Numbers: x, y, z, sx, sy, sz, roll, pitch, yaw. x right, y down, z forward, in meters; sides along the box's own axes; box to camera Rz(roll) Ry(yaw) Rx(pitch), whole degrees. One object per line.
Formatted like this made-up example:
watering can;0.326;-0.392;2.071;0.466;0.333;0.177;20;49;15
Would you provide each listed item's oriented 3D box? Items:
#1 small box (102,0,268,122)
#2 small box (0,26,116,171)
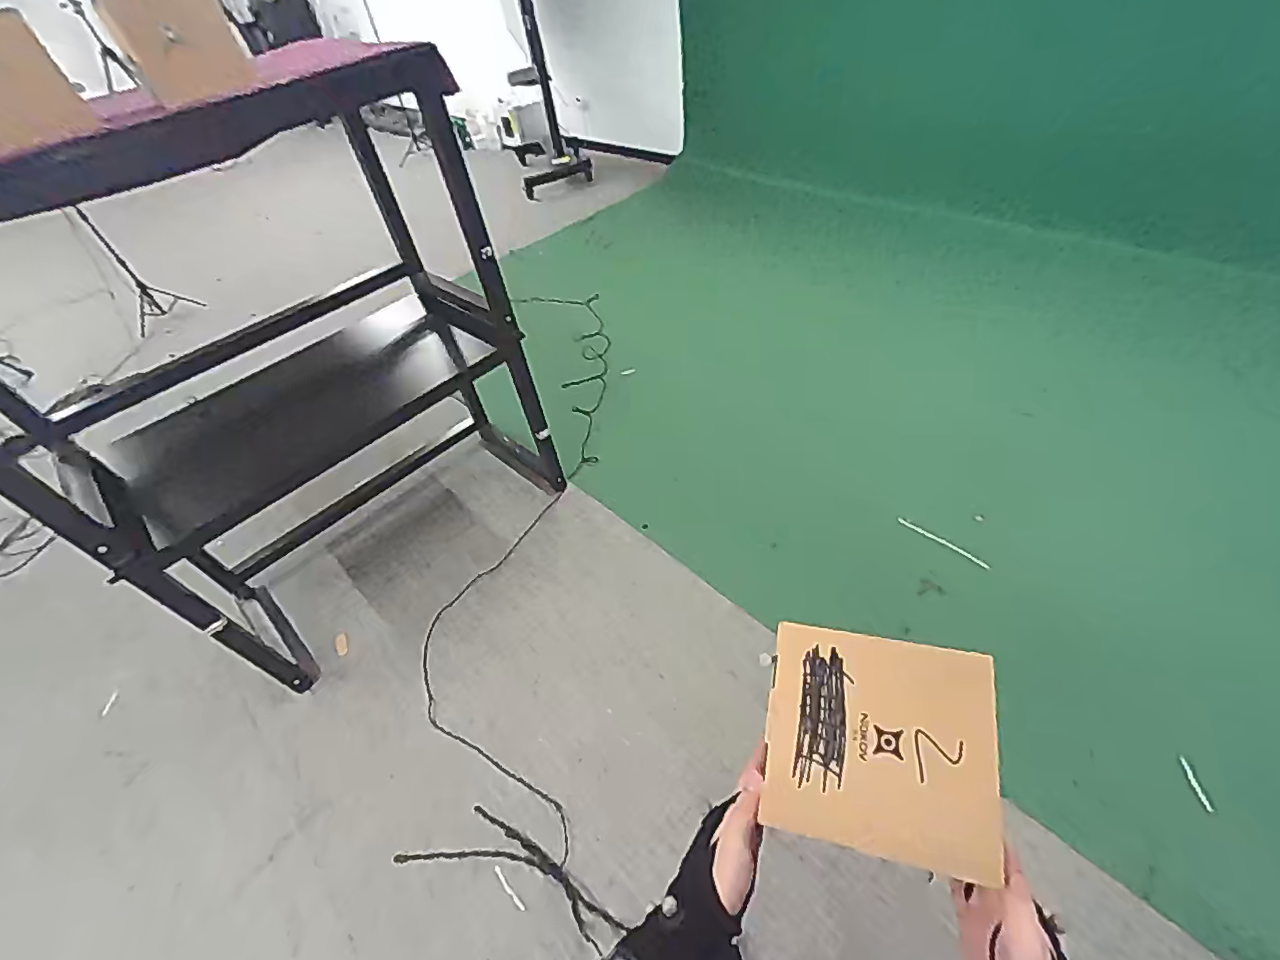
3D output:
small box;-0.883;-0.825;1.058;0.179;0.176;0.168;-38;52;-23
small box;-1.081;-0.659;0.939;0.179;0.176;0.168;-38;52;-24
